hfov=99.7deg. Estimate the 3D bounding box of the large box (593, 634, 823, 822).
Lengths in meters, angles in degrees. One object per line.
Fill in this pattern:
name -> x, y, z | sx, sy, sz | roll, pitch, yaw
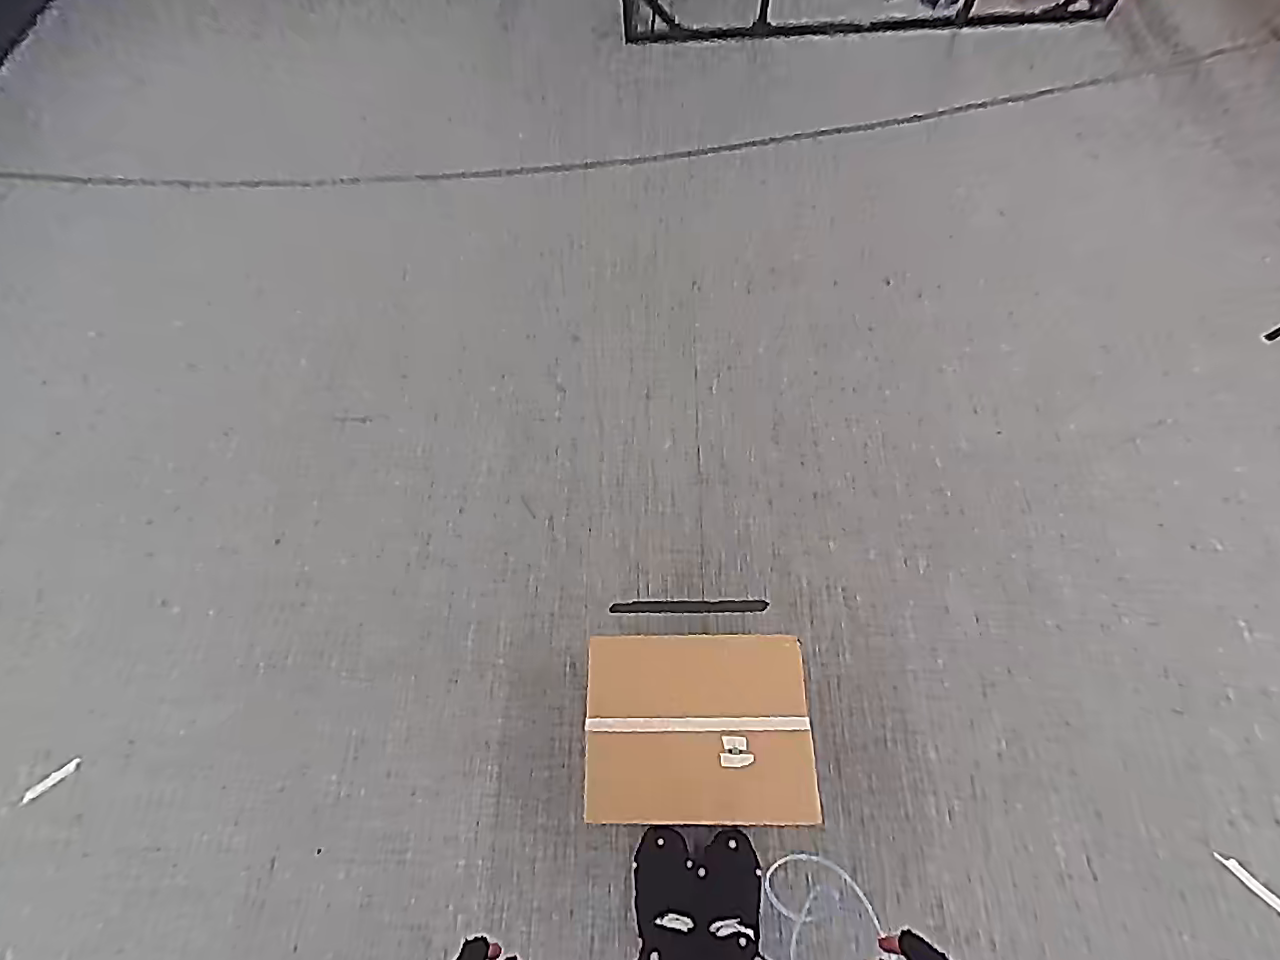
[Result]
large box -> 0.119, 0.507, 1.124 | 0.408, 0.320, 0.320 | -1, 66, 2
